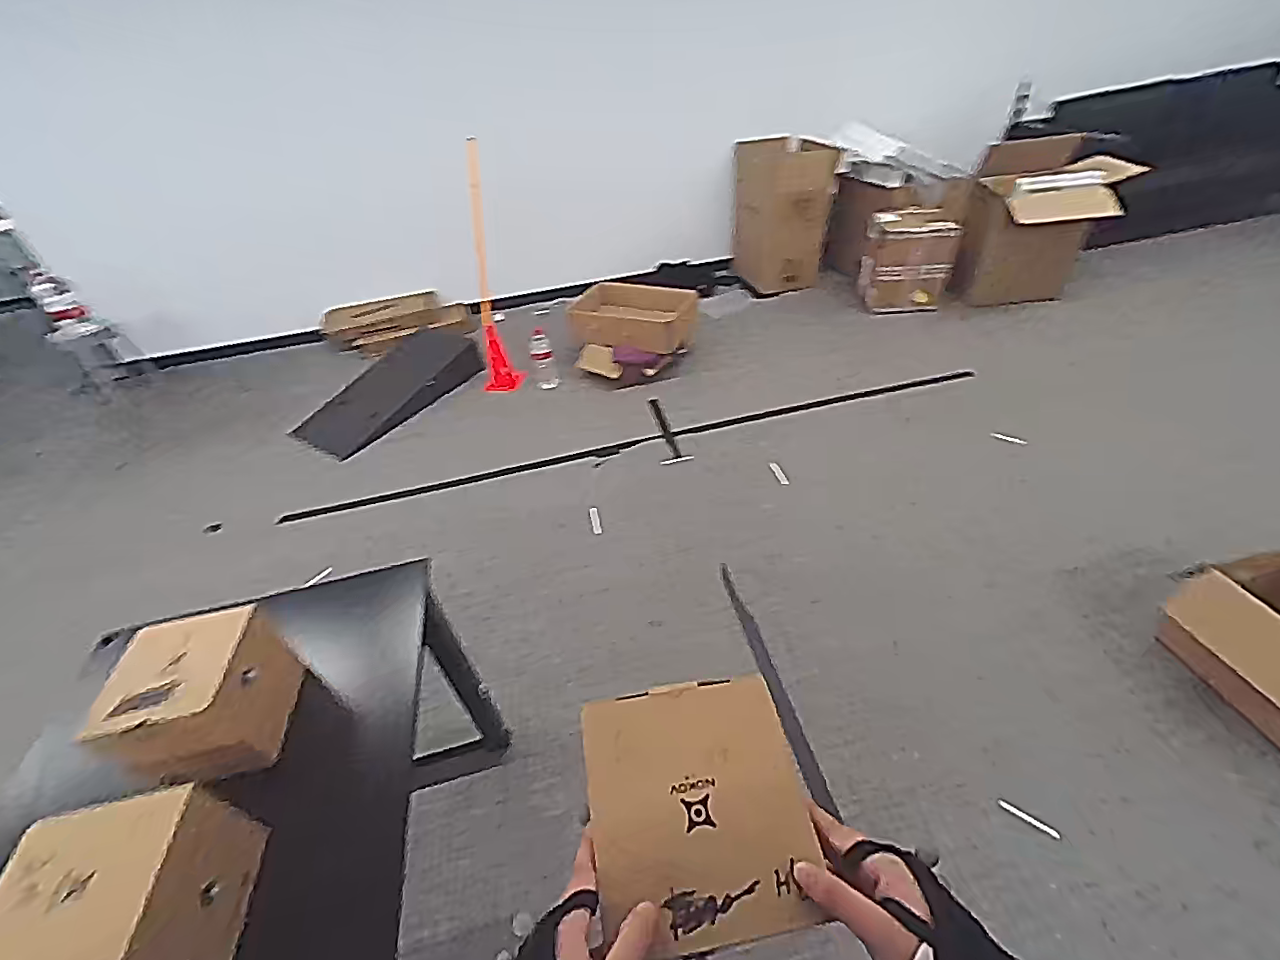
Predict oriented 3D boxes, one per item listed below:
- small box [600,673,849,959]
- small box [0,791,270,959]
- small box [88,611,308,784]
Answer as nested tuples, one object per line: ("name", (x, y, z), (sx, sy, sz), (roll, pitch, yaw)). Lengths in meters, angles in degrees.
("small box", (0.055, 0.302, 0.487), (0.168, 0.176, 0.179), (-7, 48, -6))
("small box", (-0.571, 0.491, 0.618), (0.179, 0.176, 0.168), (-12, 40, -5))
("small box", (-0.639, 0.332, 0.814), (0.168, 0.176, 0.179), (-12, 40, -5))
